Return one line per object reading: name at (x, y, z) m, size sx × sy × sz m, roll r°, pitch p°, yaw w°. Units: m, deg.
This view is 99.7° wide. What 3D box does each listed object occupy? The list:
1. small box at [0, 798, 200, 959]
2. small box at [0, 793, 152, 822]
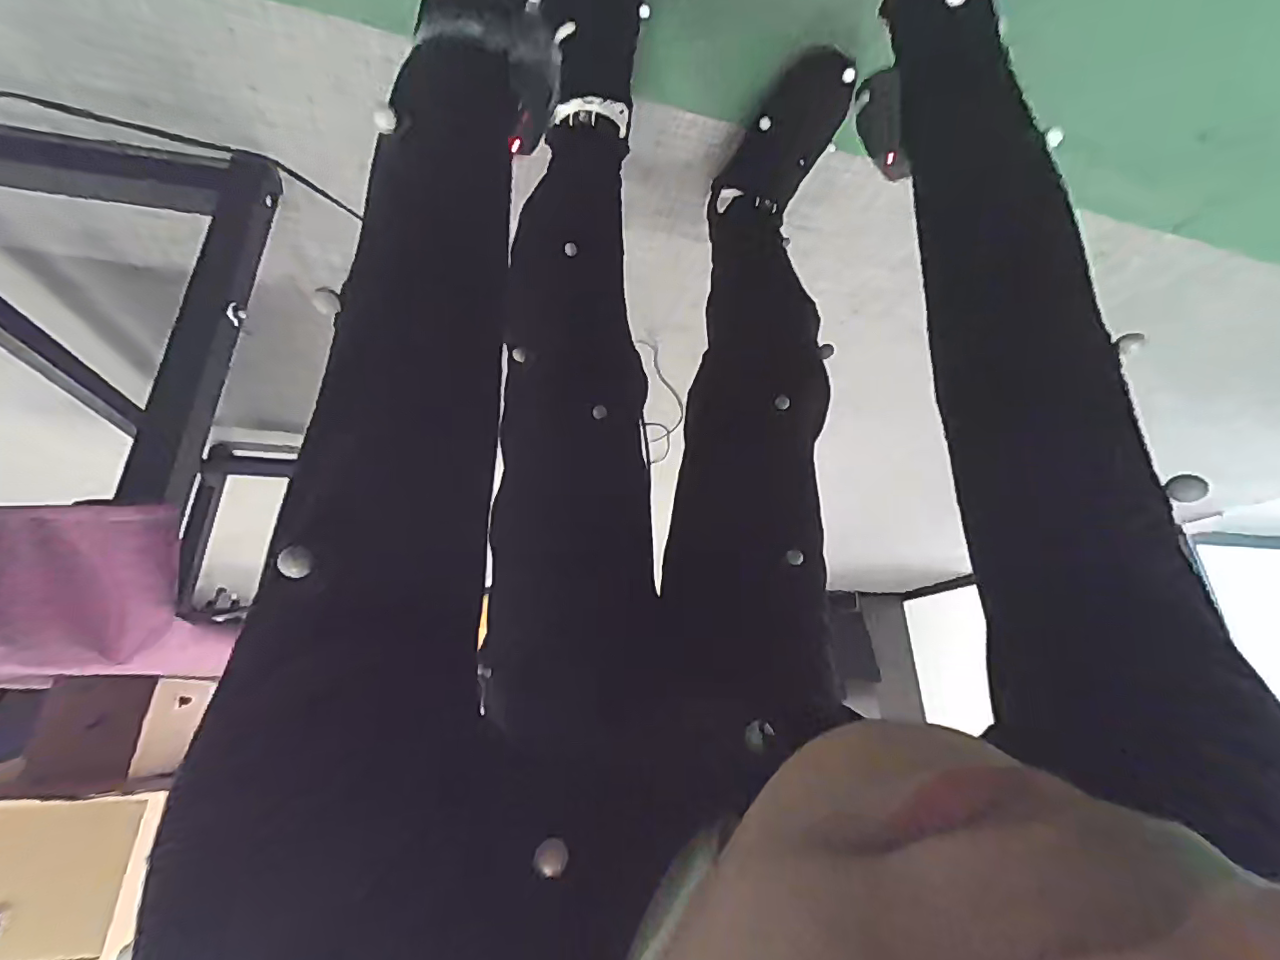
small box at (-0.742, 0.526, 0.717) m, size 0.179 × 0.176 × 0.168 m, roll 3°, pitch 155°, yaw -12°
small box at (-0.939, 0.609, 0.873) m, size 0.179 × 0.176 × 0.168 m, roll 3°, pitch 153°, yaw -10°
